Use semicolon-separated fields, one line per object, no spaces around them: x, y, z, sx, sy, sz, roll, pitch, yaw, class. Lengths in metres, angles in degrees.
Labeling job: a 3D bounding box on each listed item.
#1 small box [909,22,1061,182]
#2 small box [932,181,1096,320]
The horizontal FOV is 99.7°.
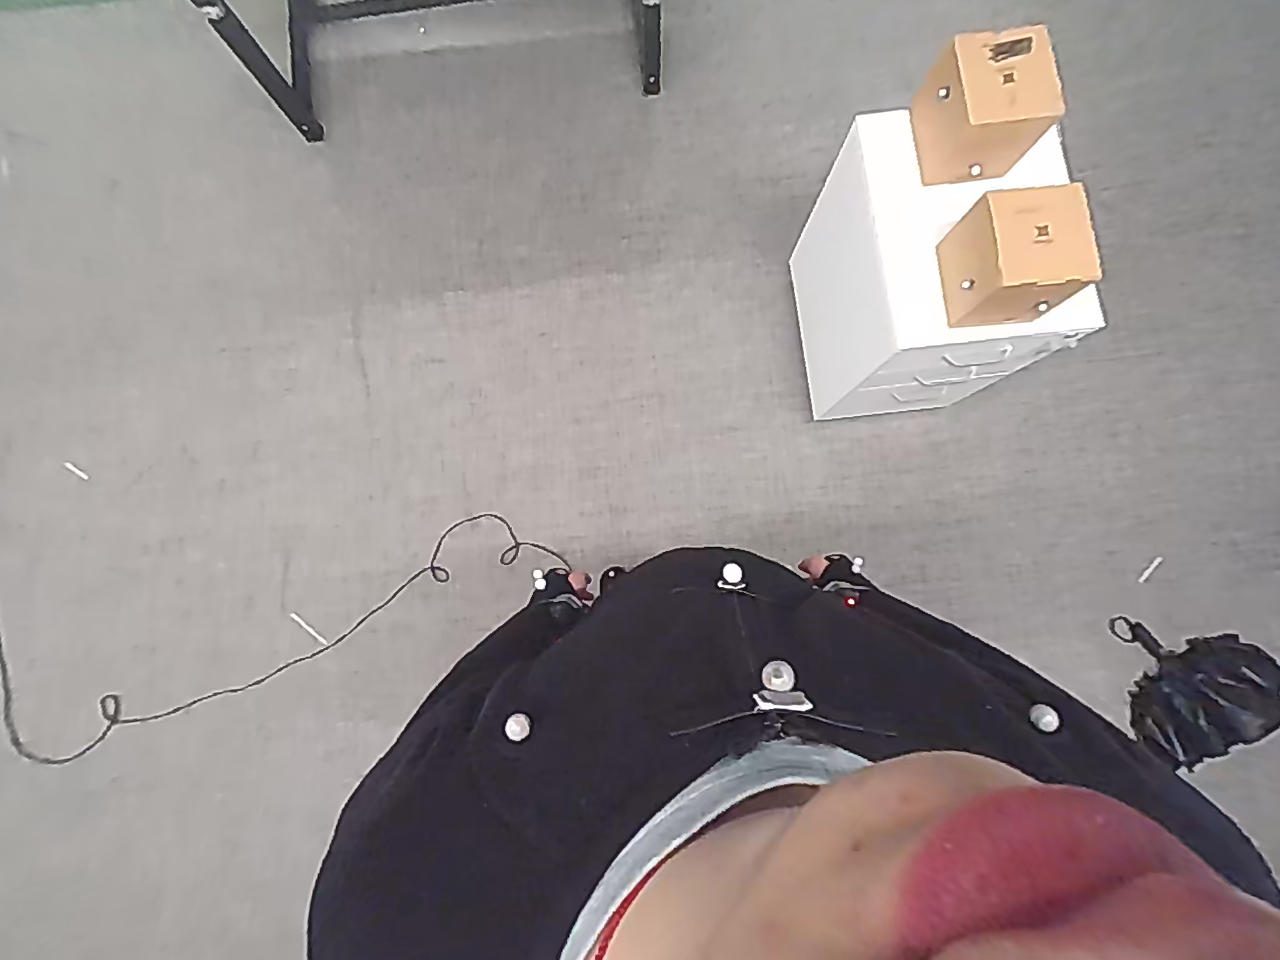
0.630;-0.697;1.011;0.168;0.176;0.179;-7;85;0;small box
0.660;-0.401;0.977;0.168;0.176;0.179;-5;81;-2;small box
